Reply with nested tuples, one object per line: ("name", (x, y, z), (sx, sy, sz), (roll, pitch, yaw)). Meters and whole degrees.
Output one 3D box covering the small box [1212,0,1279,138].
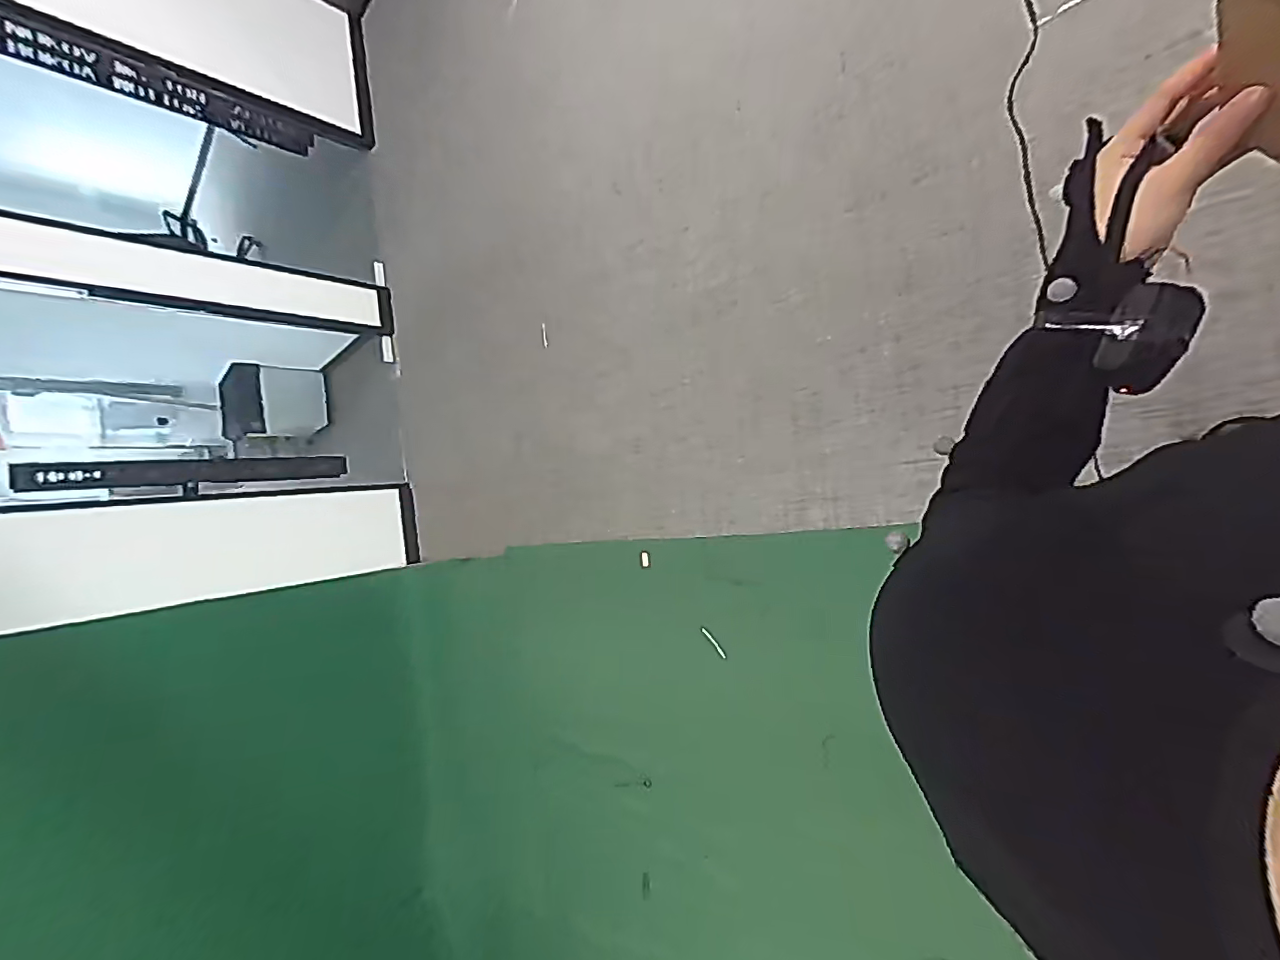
("small box", (0.407, -0.234, 0.221), (0.179, 0.176, 0.168), (-52, 53, 33))
